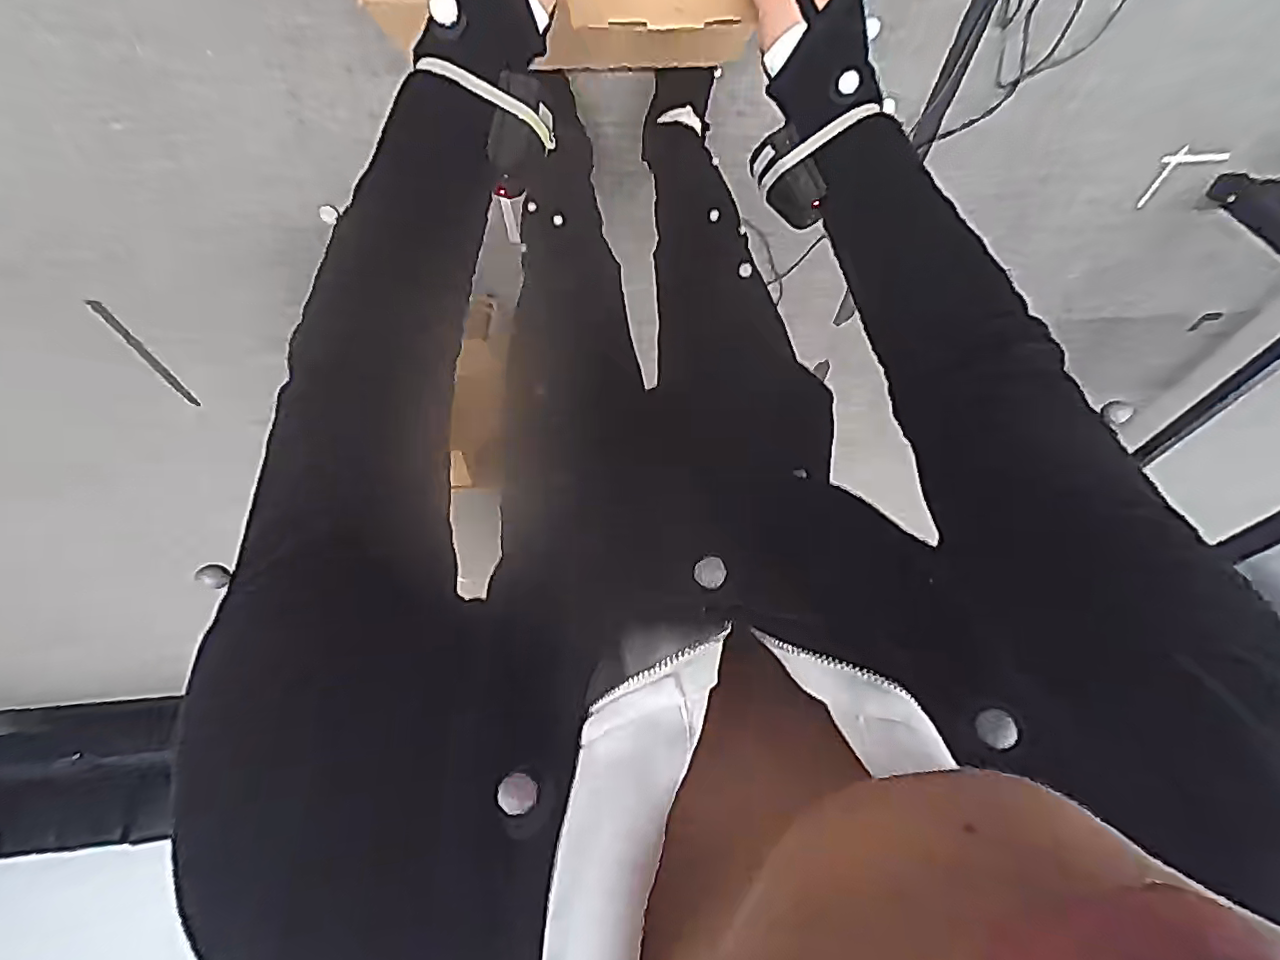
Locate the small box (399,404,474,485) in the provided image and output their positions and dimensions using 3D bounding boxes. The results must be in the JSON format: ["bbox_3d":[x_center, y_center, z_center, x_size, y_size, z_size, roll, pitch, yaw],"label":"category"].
[{"bbox_3d":[-0.592,-0.103,1.596,0.168,0.176,0.179,-4,145,-7],"label":"small box"}]

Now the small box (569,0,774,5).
[{"bbox_3d":[0.018,-0.477,0.387,0.168,0.176,0.179,-3,145,-4],"label":"small box"}]
